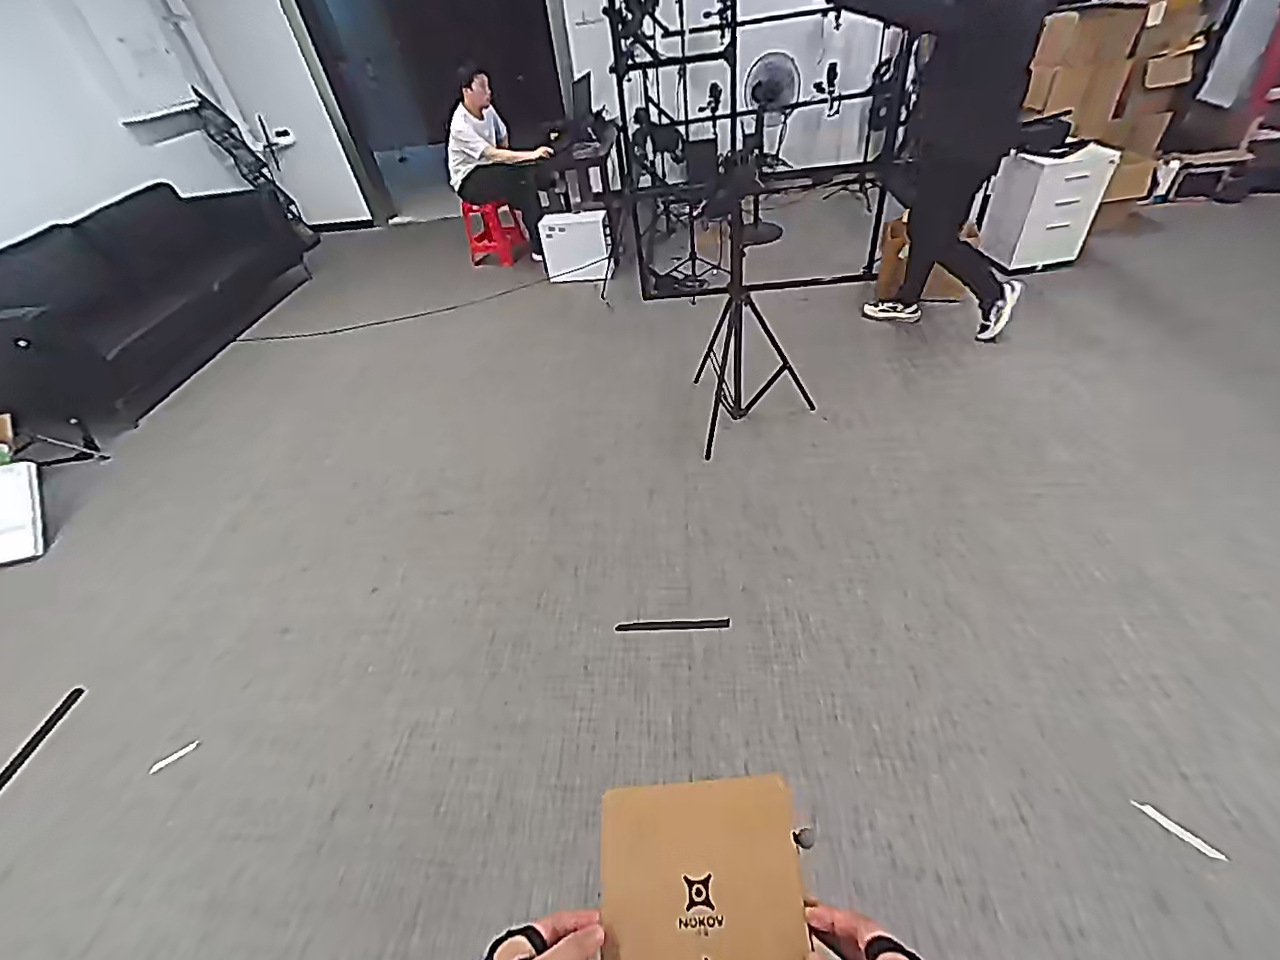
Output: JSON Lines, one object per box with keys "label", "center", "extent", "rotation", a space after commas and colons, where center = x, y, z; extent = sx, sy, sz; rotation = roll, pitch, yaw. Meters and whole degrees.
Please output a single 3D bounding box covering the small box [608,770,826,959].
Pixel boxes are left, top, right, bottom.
{"label": "small box", "center": [0.073, 0.379, 0.488], "extent": [0.168, 0.176, 0.179], "rotation": [-11, 52, 10]}
